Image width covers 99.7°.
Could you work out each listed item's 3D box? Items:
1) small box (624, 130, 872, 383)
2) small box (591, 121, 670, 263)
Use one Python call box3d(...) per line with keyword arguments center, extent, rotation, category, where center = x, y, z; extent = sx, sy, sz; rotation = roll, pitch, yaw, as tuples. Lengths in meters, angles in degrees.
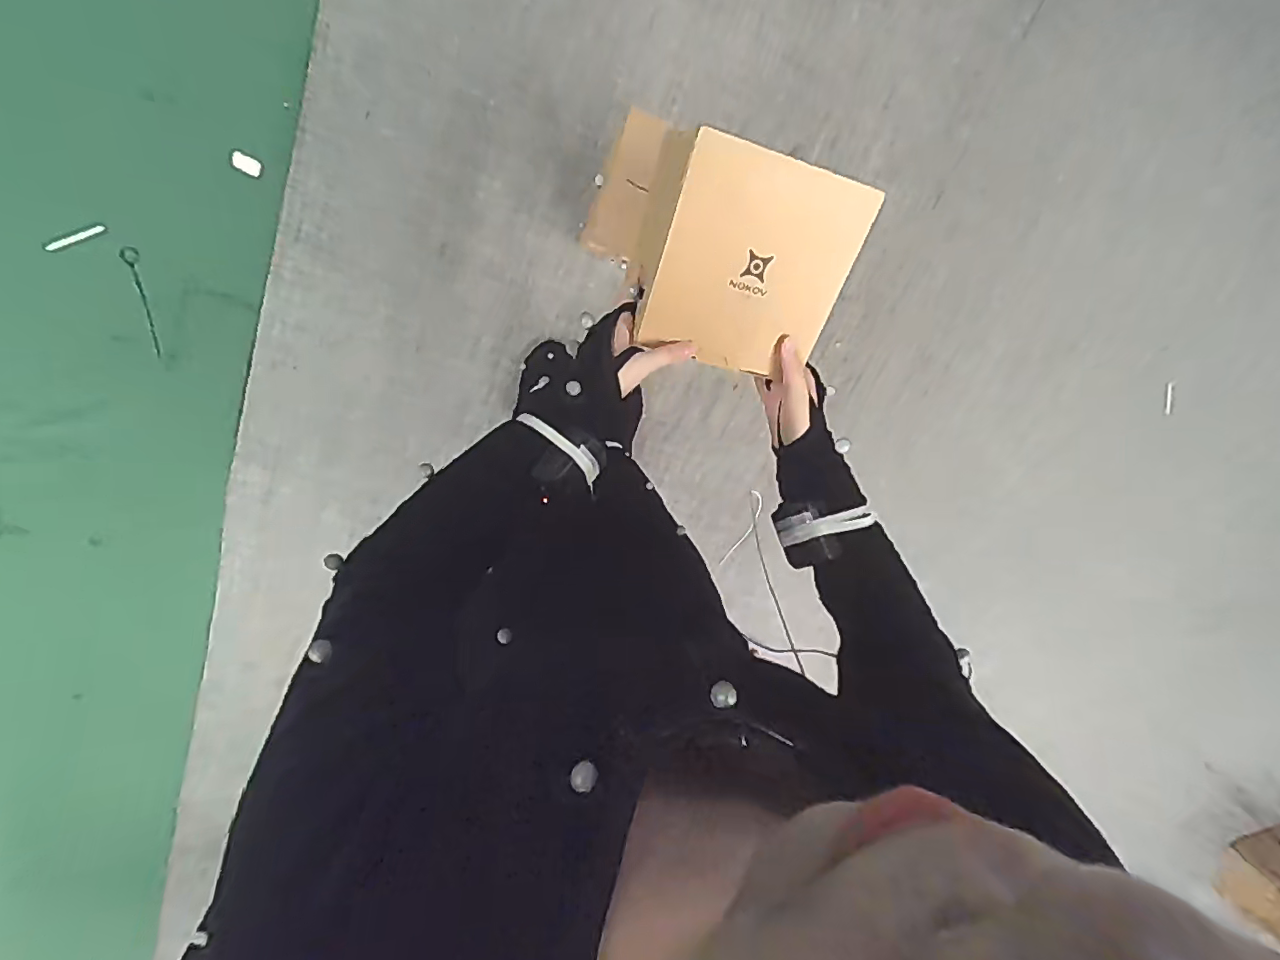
box3d(center=(0.086, -0.225, 0.539), extent=(0.168, 0.176, 0.179), rotation=(11, 121, -14), category="small box")
box3d(center=(0.032, -0.412, 0.832), extent=(0.179, 0.176, 0.168), rotation=(17, 108, -13), category="small box")
